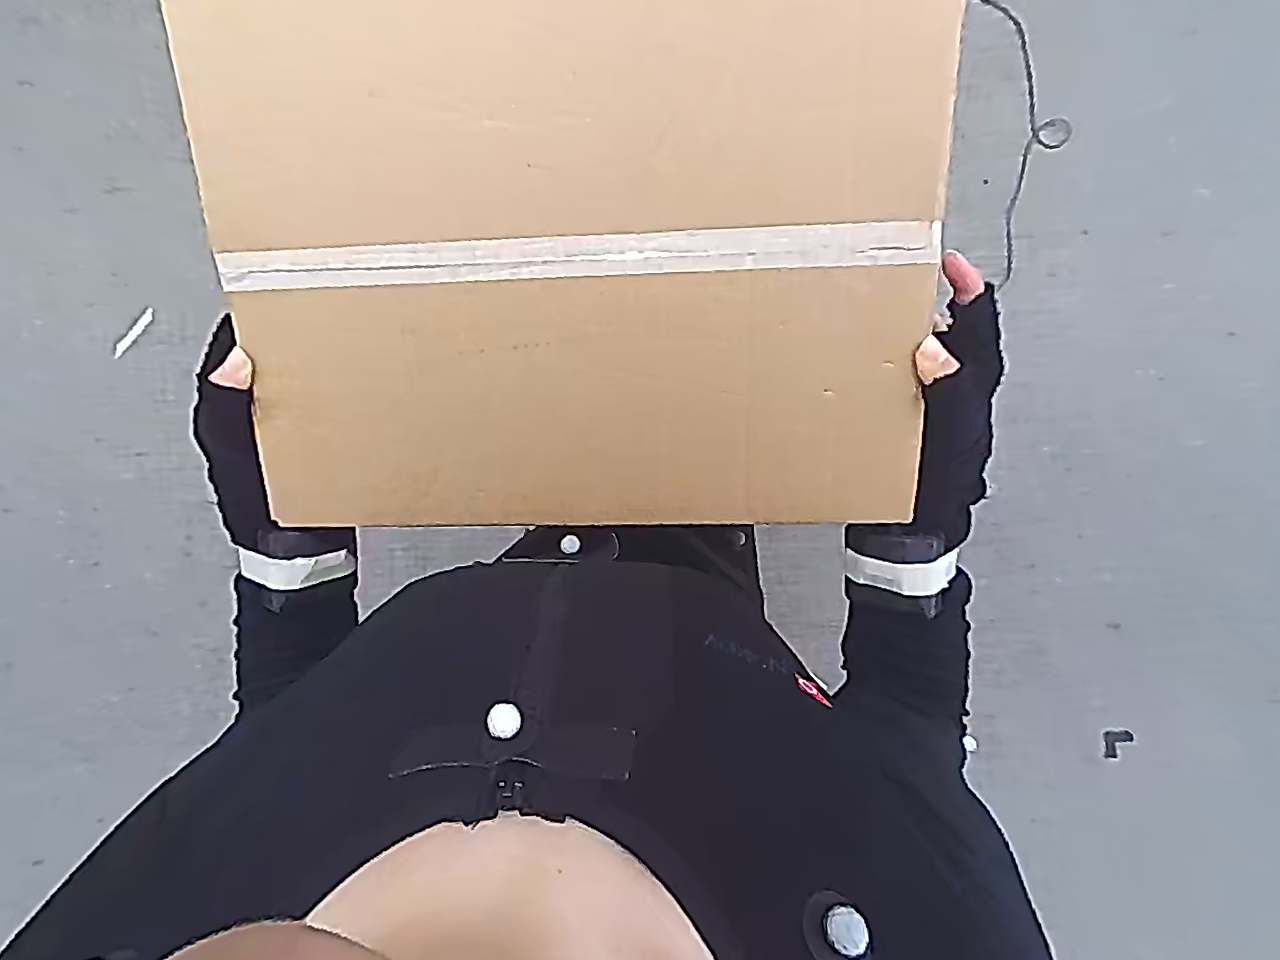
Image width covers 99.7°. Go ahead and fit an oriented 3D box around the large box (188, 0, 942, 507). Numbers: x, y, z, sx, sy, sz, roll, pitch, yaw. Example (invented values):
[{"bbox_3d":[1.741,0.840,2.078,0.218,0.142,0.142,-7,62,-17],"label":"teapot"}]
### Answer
[{"bbox_3d":[-0.034,-0.173,0.454,0.408,0.320,0.320,-1,106,3],"label":"large box"}]
